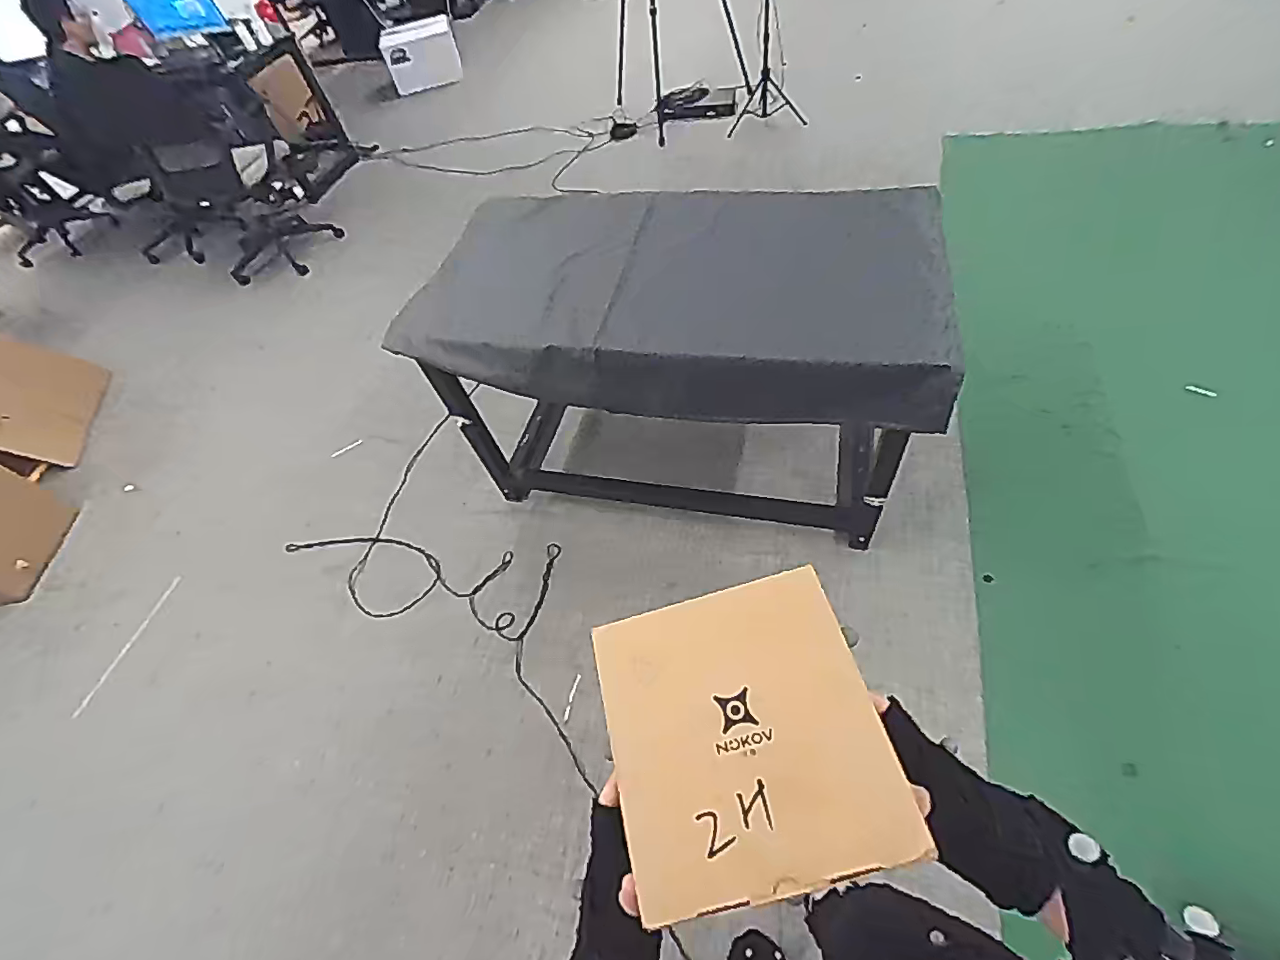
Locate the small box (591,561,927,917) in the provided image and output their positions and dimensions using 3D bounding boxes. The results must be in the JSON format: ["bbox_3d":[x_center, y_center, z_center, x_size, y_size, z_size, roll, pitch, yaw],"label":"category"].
[{"bbox_3d":[0.075,0.189,0.402,0.168,0.176,0.179,-18,57,4],"label":"small box"}]
